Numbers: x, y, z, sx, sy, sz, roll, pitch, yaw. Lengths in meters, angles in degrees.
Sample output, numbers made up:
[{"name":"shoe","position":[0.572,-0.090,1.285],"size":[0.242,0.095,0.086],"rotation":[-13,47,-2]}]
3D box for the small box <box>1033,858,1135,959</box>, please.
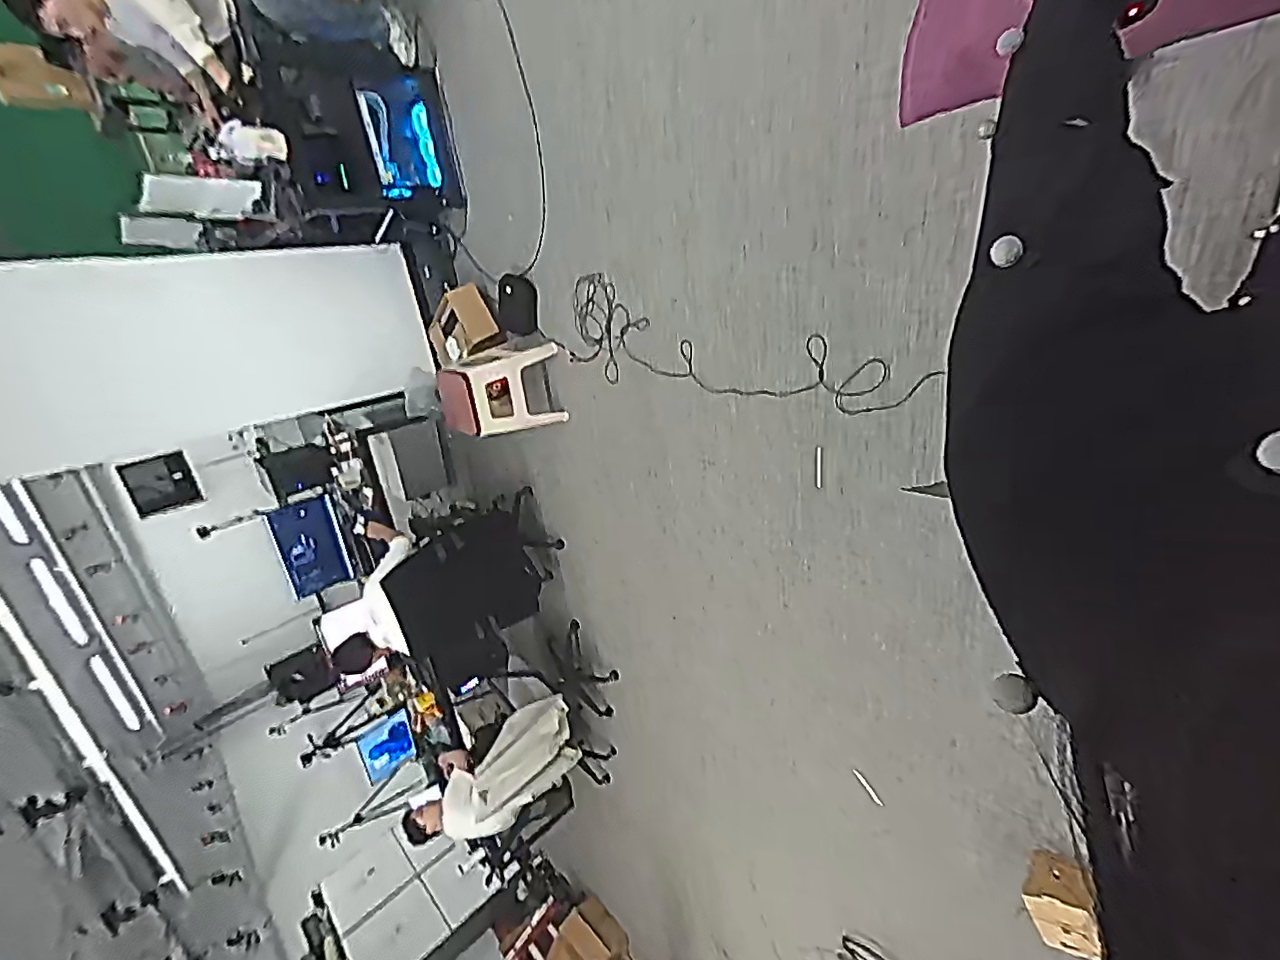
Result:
[{"name":"small box","position":[1.274,1.236,1.550],"size":[0.168,0.176,0.179],"rotation":[-27,88,52]}]
